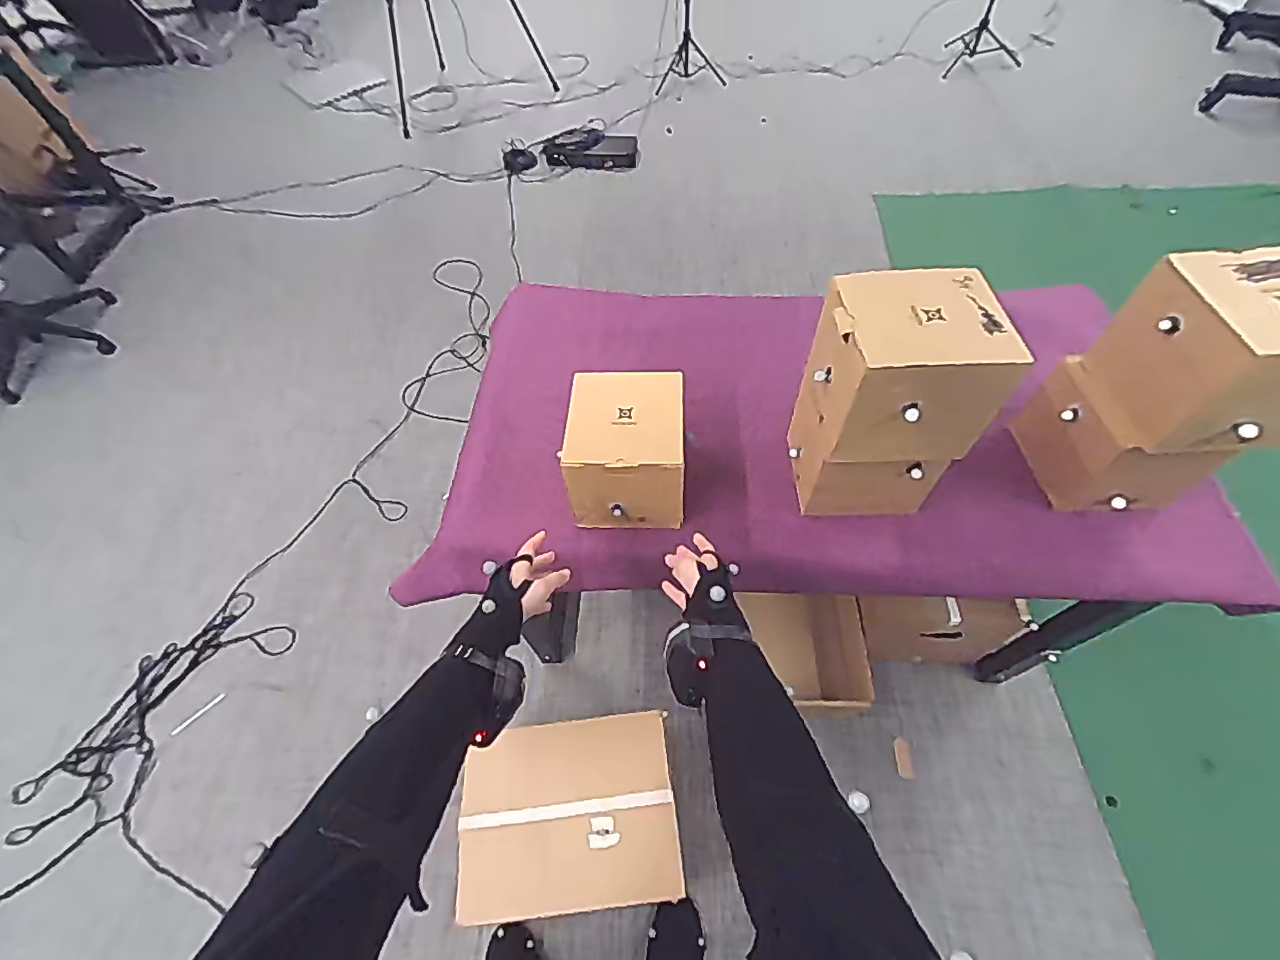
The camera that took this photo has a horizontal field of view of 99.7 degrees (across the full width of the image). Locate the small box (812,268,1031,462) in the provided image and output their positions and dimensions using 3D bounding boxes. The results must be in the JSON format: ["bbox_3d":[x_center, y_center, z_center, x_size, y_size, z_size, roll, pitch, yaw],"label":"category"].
[{"bbox_3d":[0.320,-0.135,0.665,0.179,0.176,0.168,-2,54,3],"label":"small box"}]

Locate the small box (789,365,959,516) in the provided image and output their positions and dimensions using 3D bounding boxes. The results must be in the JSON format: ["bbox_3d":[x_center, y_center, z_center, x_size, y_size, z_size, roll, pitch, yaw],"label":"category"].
[{"bbox_3d":[0.334,-0.056,0.809,0.179,0.176,0.168,-1,54,4],"label":"small box"}]

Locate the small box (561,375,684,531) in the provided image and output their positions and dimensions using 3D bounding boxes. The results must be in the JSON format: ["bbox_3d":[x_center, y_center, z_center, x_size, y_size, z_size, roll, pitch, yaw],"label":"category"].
[{"bbox_3d":[-0.017,-0.040,0.826,0.168,0.176,0.179,0,56,4],"label":"small box"}]

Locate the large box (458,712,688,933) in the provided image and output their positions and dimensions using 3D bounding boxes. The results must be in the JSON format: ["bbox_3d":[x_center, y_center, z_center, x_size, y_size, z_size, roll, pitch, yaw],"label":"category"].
[{"bbox_3d":[-0.125,0.706,1.127,0.408,0.320,0.320,-6,55,-1],"label":"large box"}]

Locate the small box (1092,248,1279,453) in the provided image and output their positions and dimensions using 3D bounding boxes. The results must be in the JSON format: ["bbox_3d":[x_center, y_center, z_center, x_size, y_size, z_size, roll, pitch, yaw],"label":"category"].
[{"bbox_3d":[0.706,-0.152,0.649,0.168,0.176,0.179,-3,55,4],"label":"small box"}]

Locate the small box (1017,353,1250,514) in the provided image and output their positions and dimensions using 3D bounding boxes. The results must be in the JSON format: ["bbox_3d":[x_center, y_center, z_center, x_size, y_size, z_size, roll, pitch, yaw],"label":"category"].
[{"bbox_3d":[0.700,-0.068,0.791,0.168,0.176,0.179,-3,54,3],"label":"small box"}]
